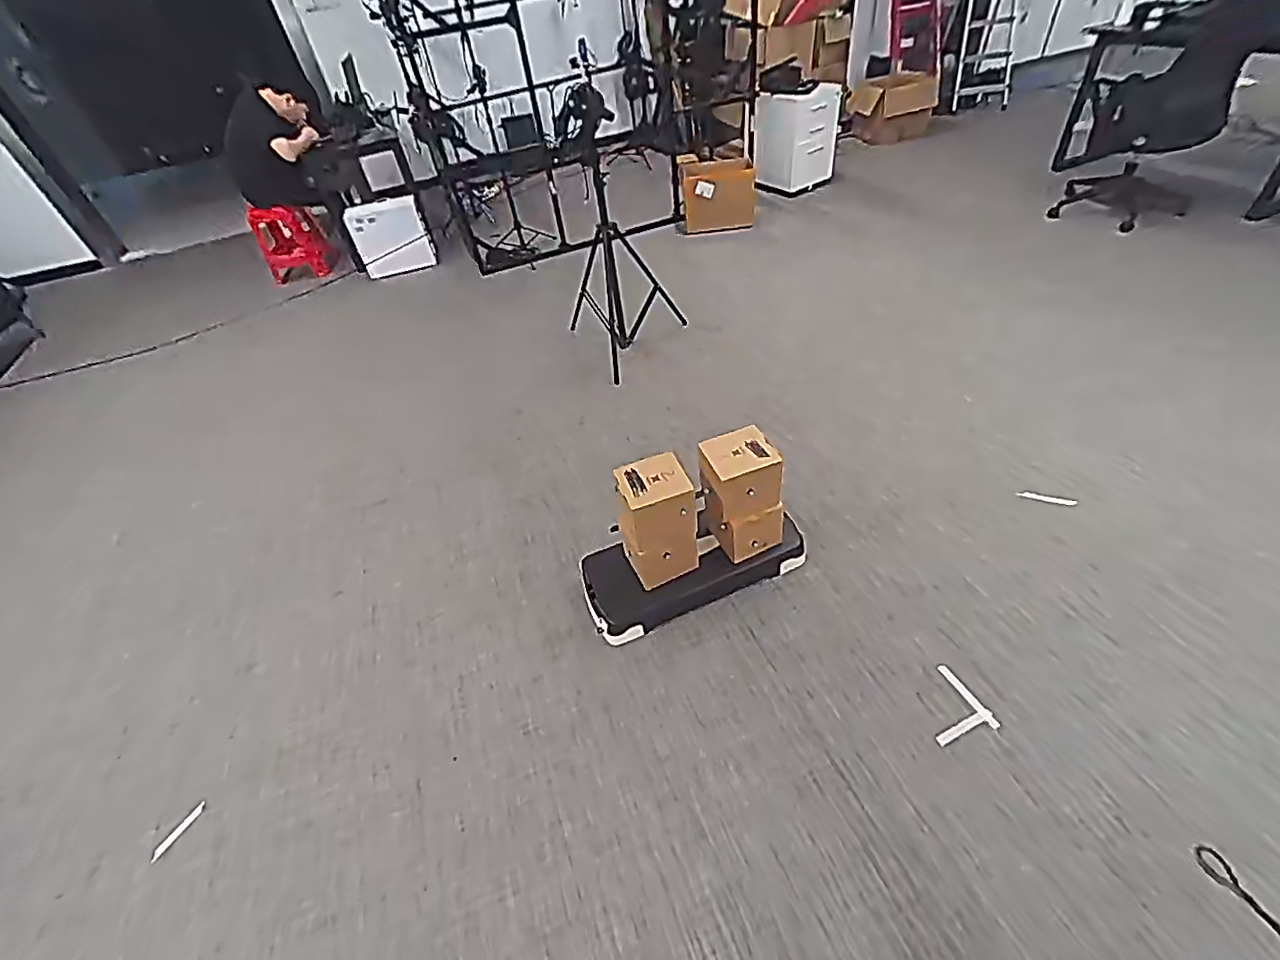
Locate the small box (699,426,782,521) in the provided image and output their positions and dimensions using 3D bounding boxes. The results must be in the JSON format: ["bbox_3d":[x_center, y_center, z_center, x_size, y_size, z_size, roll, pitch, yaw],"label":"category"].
[{"bbox_3d":[0.274,-0.016,1.499,0.179,0.176,0.168,-19,45,-8],"label":"small box"}]

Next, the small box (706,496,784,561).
[{"bbox_3d":[0.303,0.107,1.605,0.168,0.176,0.179,-22,46,-12],"label":"small box"}]
